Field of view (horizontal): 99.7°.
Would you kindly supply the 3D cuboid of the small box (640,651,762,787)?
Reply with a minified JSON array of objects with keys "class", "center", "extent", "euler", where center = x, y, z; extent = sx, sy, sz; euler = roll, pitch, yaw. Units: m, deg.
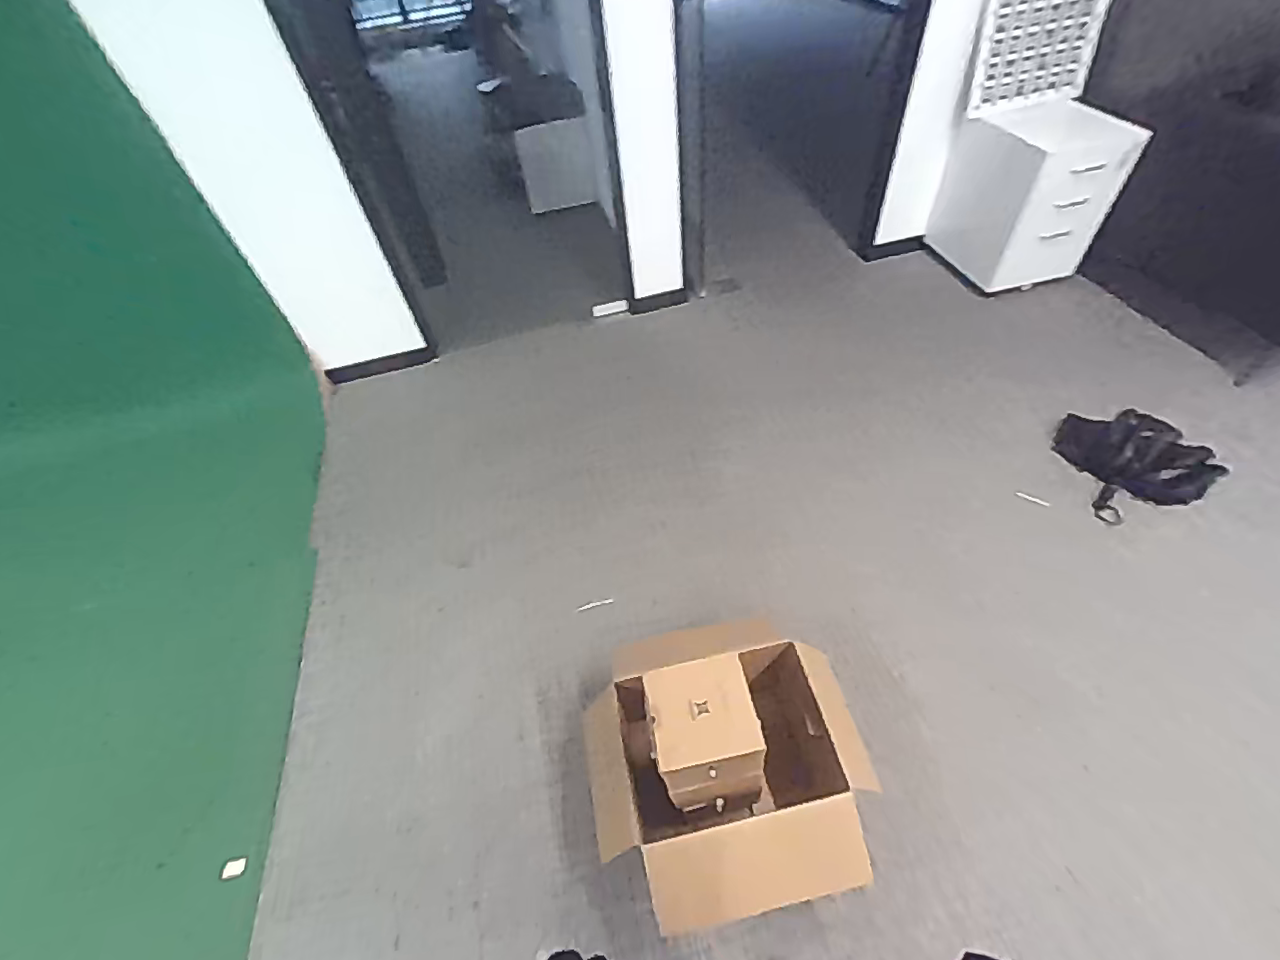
[{"class":"small box","center":[0.109,0.436,0.978],"extent":[0.179,0.176,0.168],"euler":[-13,51,-2]}]
